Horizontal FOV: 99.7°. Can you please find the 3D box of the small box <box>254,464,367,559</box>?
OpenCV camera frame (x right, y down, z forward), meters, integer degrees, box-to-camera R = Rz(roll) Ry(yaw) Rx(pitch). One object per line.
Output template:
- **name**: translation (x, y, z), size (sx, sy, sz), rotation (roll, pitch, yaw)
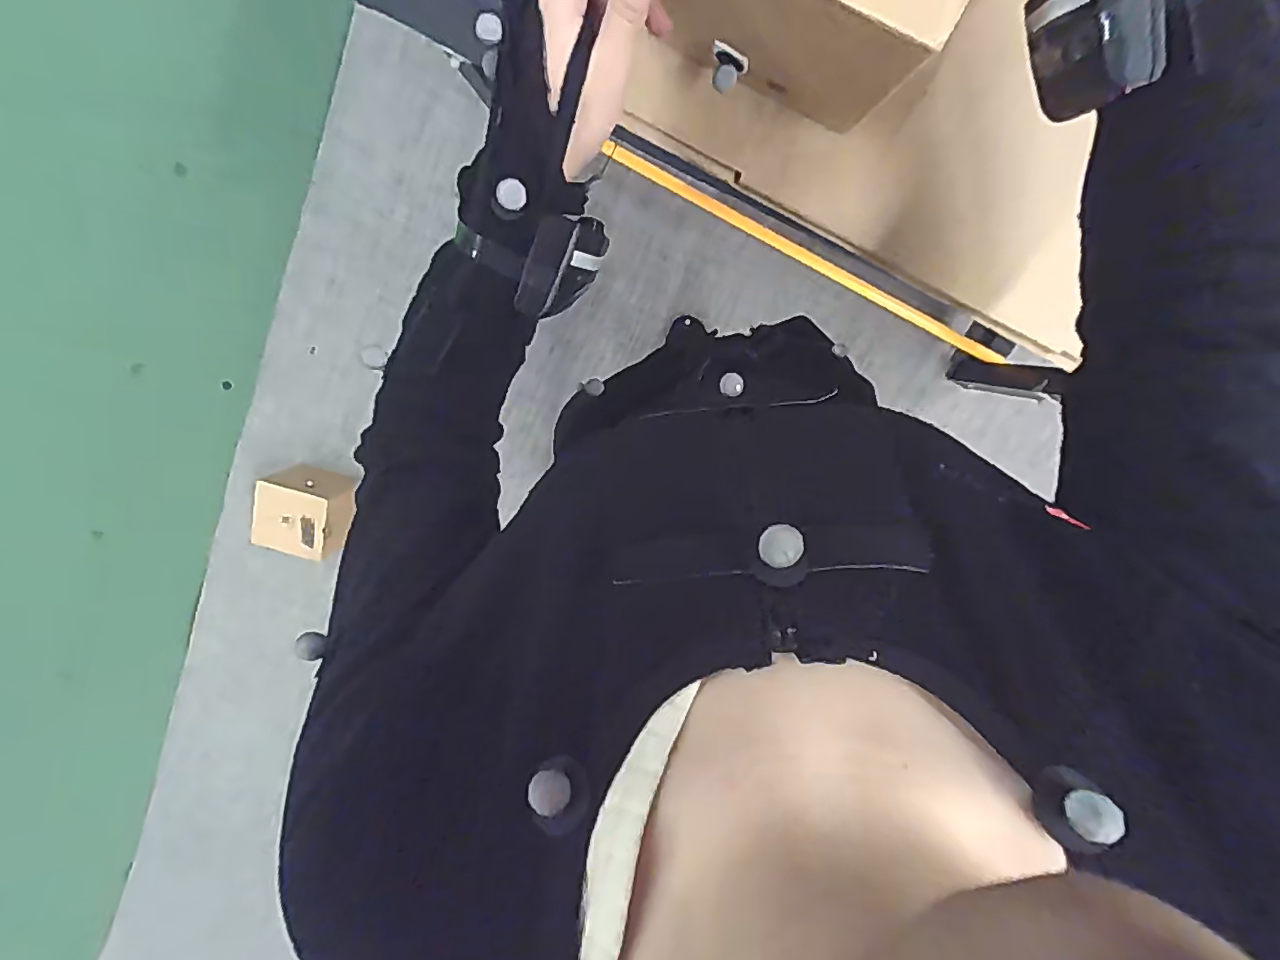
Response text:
- **small box**: translation (-0.812, 0.072, 1.347), size (0.179, 0.176, 0.168), rotation (16, 105, -1)
